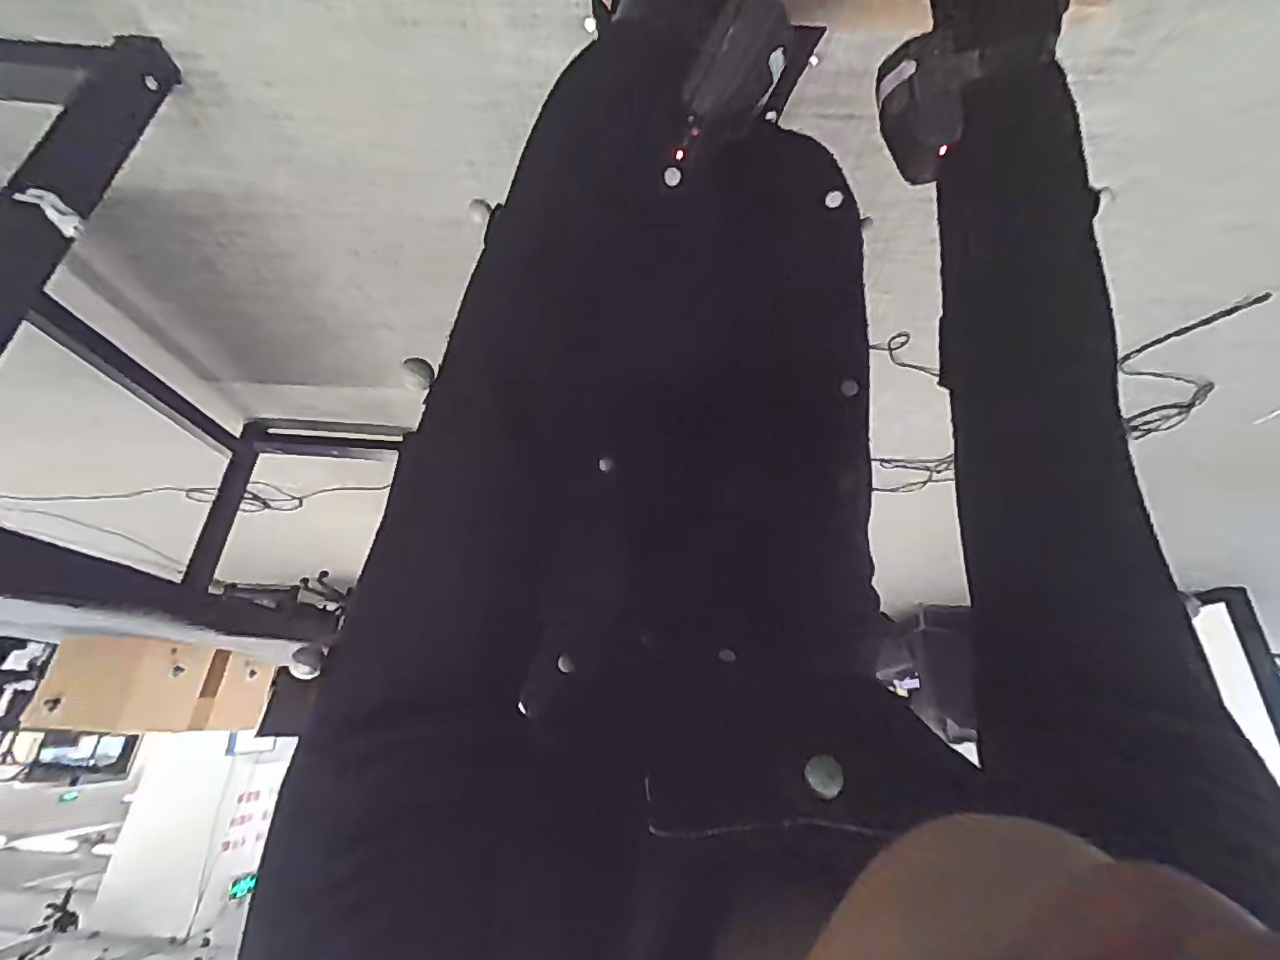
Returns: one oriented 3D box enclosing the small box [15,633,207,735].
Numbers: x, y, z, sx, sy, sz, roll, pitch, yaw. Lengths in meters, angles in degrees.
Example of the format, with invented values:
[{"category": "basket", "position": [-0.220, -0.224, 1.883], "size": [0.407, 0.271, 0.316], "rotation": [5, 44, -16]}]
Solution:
[{"category": "small box", "position": [-0.999, 0.393, 1.042], "size": [0.179, 0.176, 0.168], "rotation": [2, 156, 3]}]
